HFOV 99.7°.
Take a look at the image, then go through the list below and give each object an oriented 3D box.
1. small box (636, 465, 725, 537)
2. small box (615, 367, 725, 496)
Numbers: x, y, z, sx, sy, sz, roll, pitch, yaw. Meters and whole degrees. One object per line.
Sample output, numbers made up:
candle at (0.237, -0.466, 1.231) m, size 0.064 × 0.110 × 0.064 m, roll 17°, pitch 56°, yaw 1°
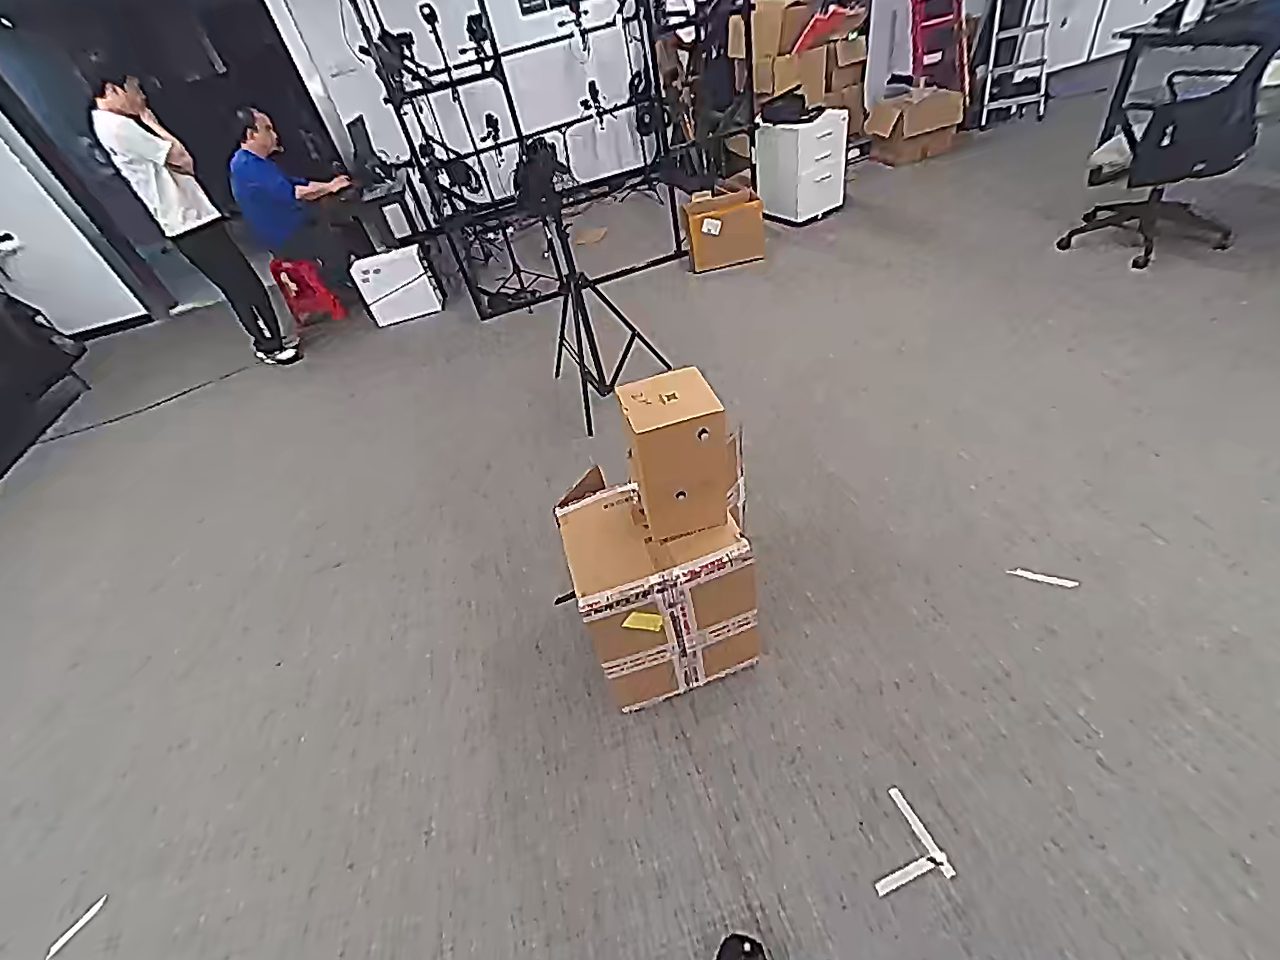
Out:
small box at (0.084, 0.006, 1.213) m, size 0.179 × 0.176 × 0.168 m, roll -14°, pitch 43°, yaw -3°
small box at (0.061, -0.096, 1.082) m, size 0.179 × 0.176 × 0.168 m, roll -16°, pitch 43°, yaw -6°
